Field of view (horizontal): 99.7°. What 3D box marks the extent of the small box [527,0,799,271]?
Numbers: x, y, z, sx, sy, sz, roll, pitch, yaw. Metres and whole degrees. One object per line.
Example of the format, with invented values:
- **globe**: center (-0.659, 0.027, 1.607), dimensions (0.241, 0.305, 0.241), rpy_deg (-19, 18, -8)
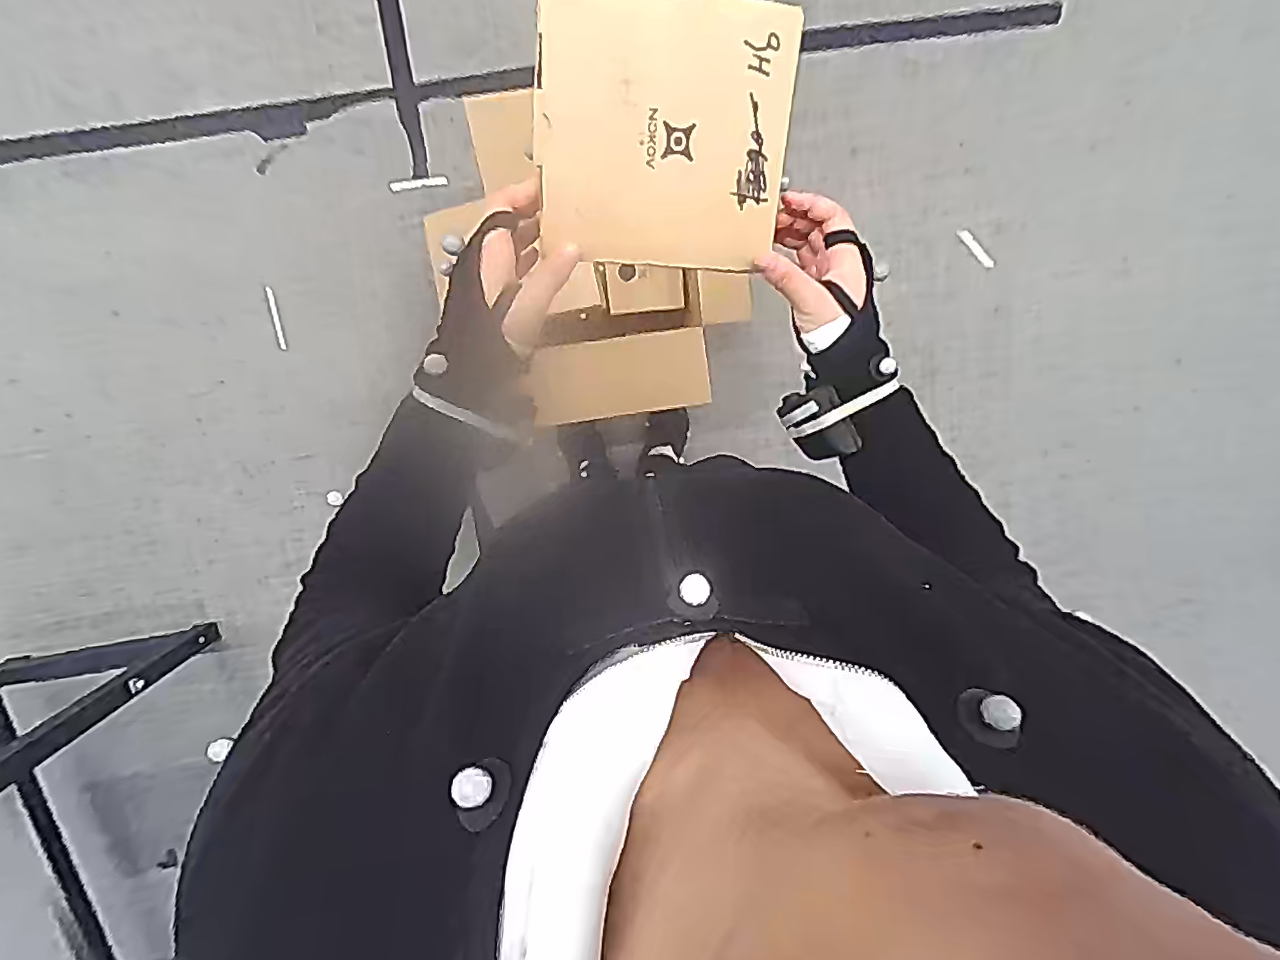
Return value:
- **small box**: center (0.005, -0.264, 0.443), dimensions (0.179, 0.176, 0.168), rpy_deg (1, 112, -7)
